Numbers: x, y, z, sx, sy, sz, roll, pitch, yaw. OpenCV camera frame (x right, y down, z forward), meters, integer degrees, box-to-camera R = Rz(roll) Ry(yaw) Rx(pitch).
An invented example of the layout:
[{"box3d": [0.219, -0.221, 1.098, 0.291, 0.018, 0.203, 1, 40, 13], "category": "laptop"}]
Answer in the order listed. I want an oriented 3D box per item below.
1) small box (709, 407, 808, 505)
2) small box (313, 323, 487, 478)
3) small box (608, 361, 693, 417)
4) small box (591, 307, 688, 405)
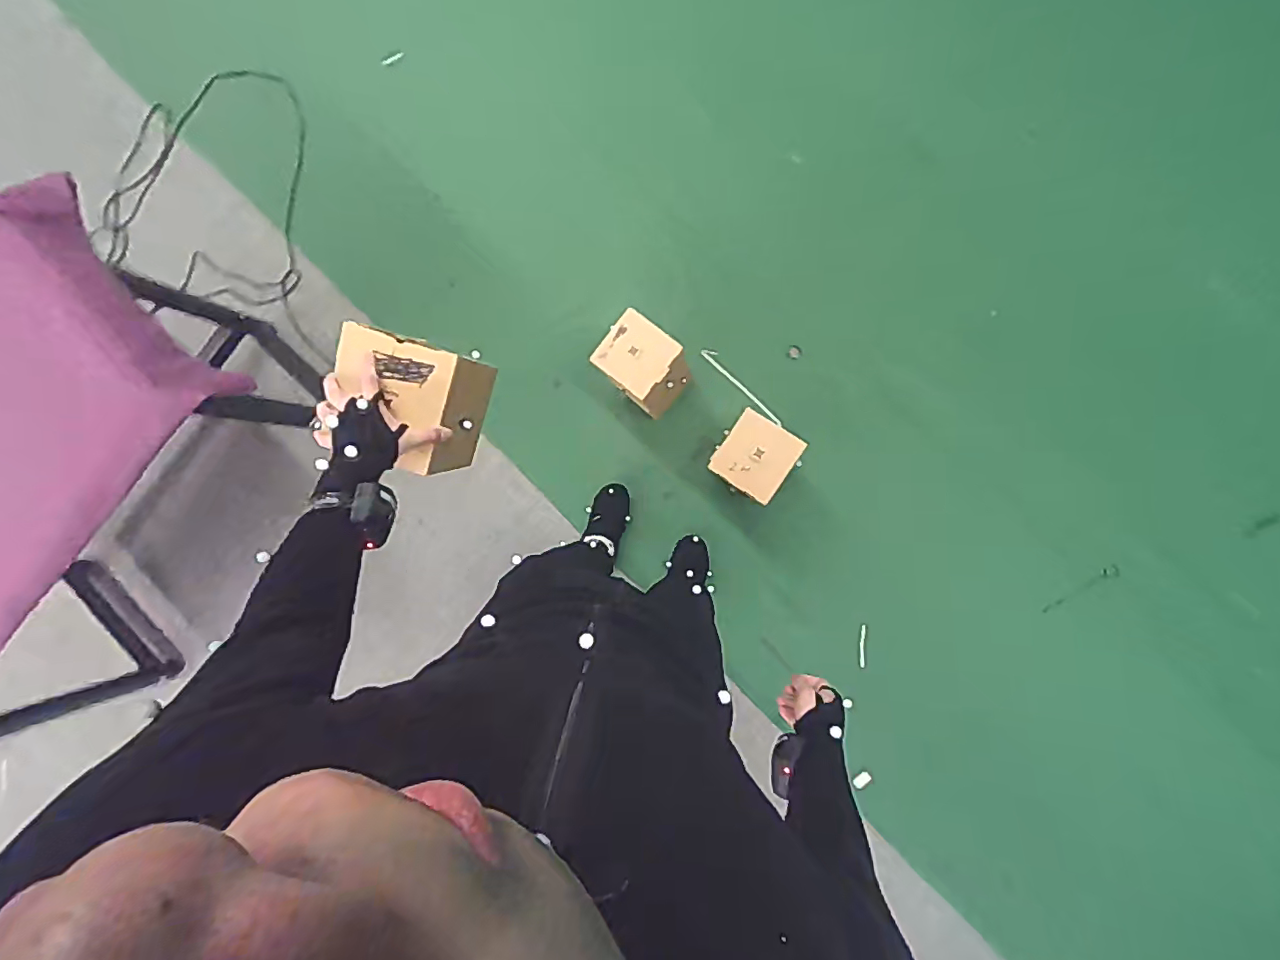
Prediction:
[{"box3d": [0.288, -0.056, 1.338, 0.168, 0.176, 0.179, 35, 96, 9], "category": "small box"}, {"box3d": [-0.350, -0.118, 0.823, 0.168, 0.176, 0.179, 18, 98, 2], "category": "small box"}, {"box3d": [0.038, -0.301, 1.555, 0.168, 0.176, 0.179, 43, 95, 9], "category": "small box"}, {"box3d": [0.007, -0.308, 1.394, 0.179, 0.176, 0.168, 41, 95, 8], "category": "small box"}]
